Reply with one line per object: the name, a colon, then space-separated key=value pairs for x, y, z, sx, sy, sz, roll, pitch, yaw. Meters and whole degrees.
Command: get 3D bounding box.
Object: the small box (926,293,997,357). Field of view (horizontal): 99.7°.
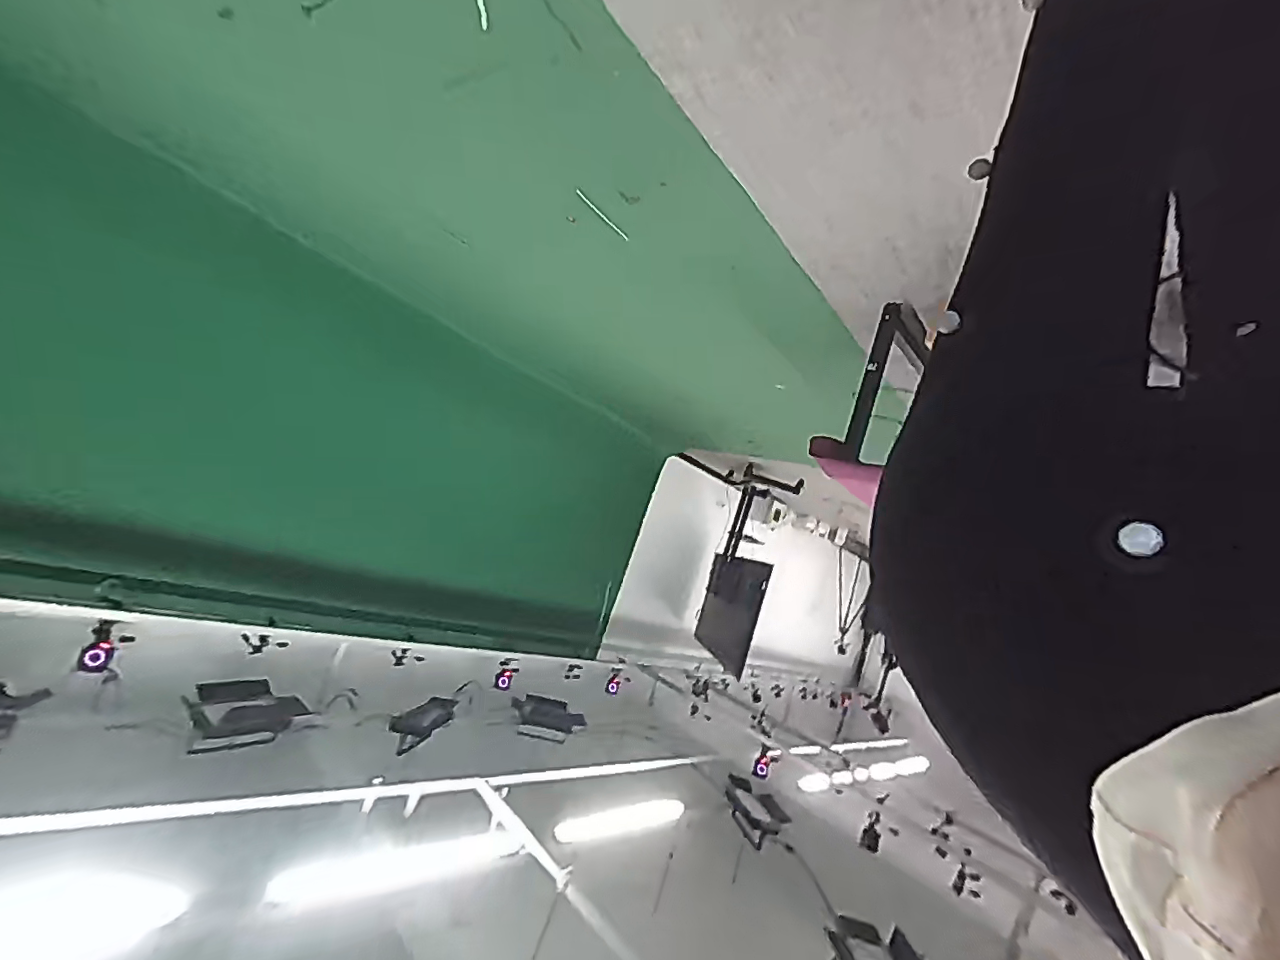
small box: x=1.170 y=-0.565 z=1.964 sx=0.179 sy=0.176 sz=0.168 roll=23 pitch=173 yaw=-41
